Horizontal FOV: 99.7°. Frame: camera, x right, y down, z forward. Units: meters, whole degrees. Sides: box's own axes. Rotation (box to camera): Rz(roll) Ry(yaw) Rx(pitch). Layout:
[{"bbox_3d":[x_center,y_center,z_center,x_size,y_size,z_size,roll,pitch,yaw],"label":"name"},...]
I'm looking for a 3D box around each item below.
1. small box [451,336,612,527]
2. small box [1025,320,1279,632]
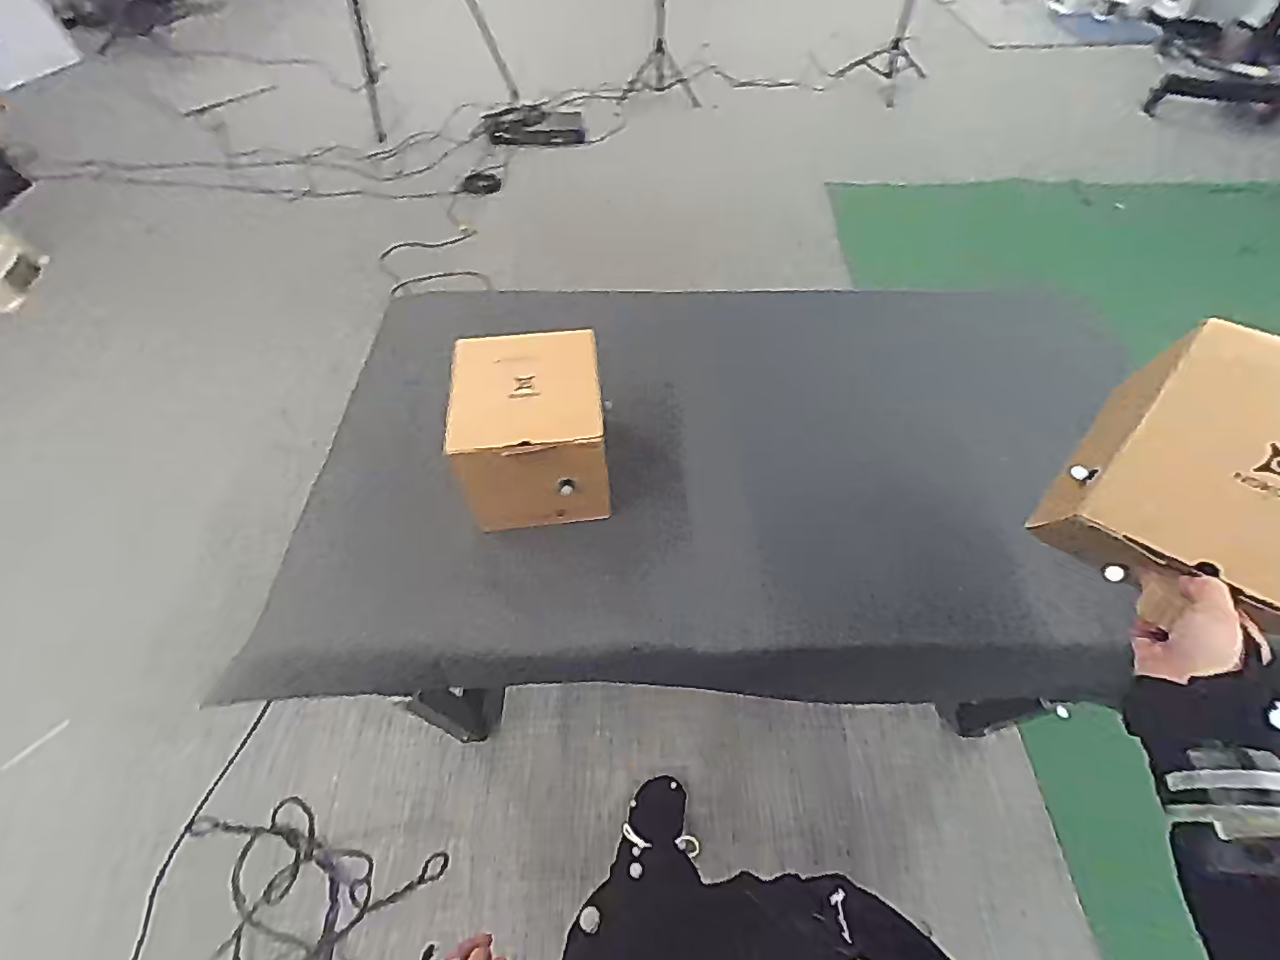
[{"bbox_3d":[-0.125,-0.053,0.675,0.168,0.176,0.179,-5,54,-5],"label":"small box"},{"bbox_3d":[0.464,0.004,0.450,0.168,0.176,0.179,31,94,24],"label":"small box"}]
